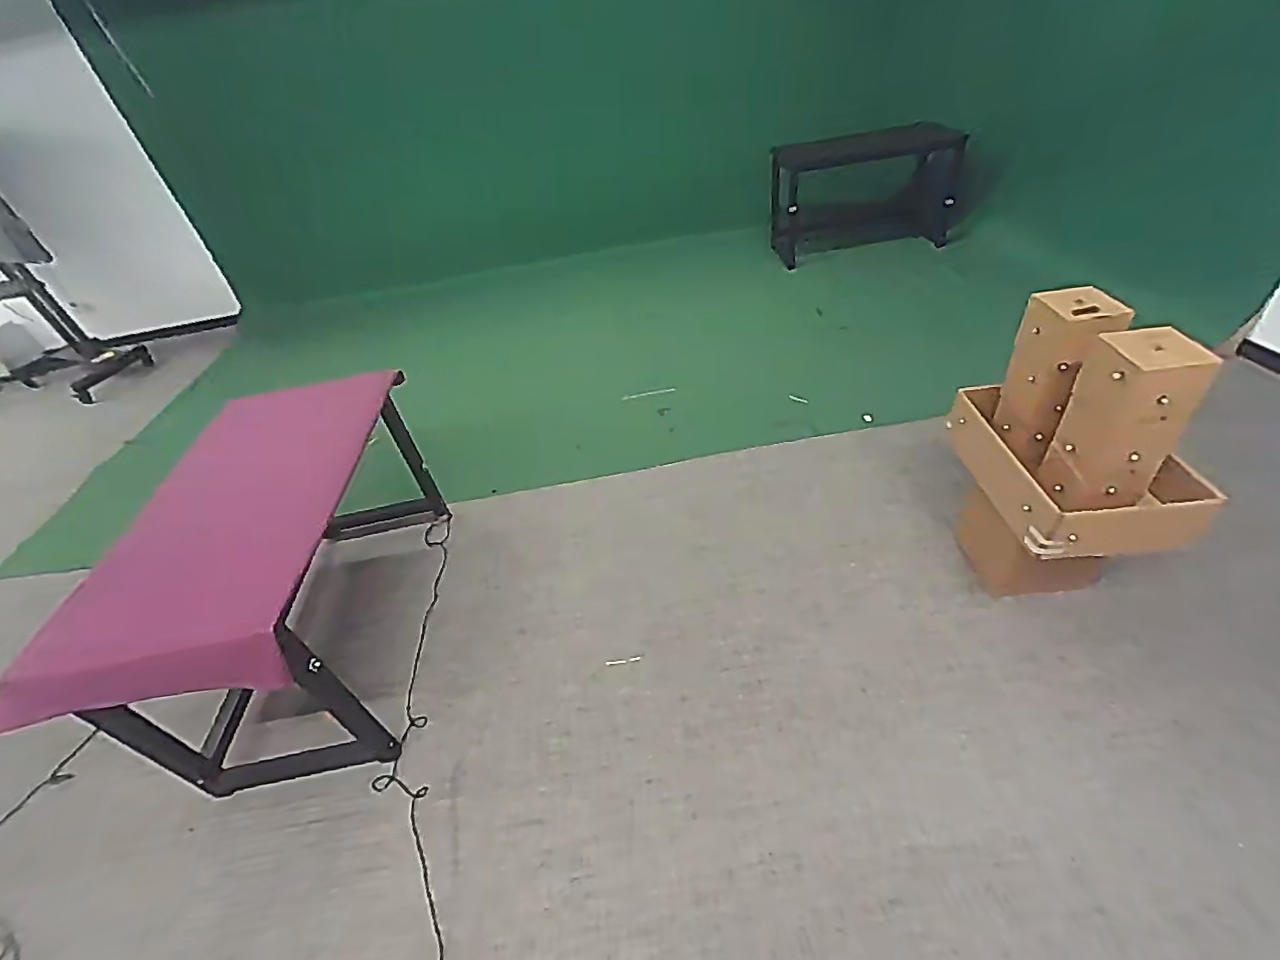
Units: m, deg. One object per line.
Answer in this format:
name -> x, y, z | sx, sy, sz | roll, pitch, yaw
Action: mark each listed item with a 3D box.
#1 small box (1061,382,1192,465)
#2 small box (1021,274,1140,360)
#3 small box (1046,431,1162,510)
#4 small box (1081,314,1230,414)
small box -> 1.243, -0.149, 1.397 | 0.168, 0.176, 0.179 | -4, 43, 10
small box -> 1.197, -0.441, 1.485 | 0.168, 0.176, 0.179 | -7, 41, 6
small box -> 1.270, -0.029, 1.504 | 0.179, 0.176, 0.168 | -4, 43, 10
small box -> 1.210, -0.270, 1.288 | 0.168, 0.176, 0.179 | -6, 42, 8
